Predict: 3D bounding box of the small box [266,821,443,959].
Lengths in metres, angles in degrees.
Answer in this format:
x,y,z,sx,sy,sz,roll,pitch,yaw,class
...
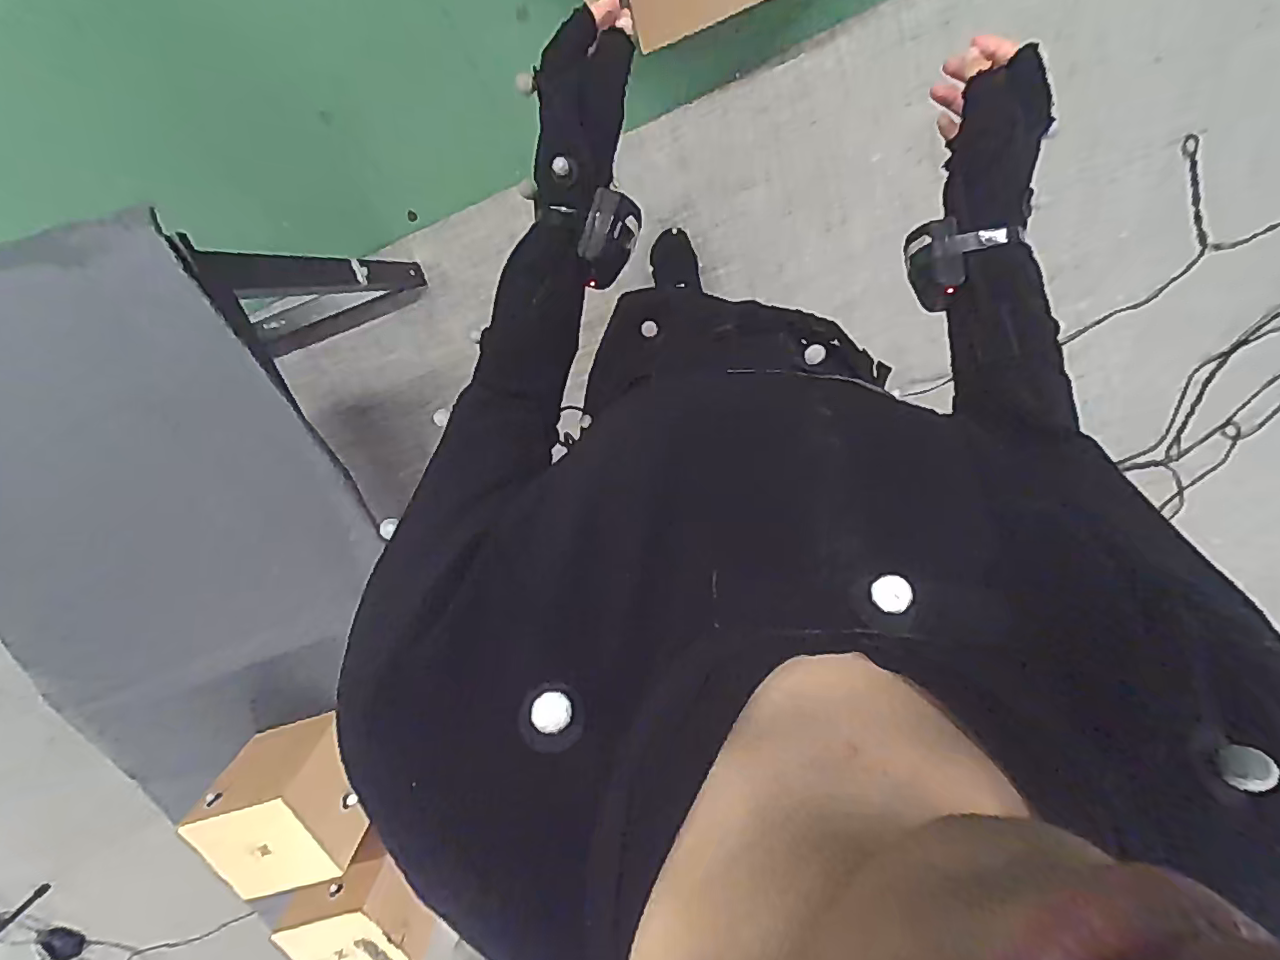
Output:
x,y,z,sx,sy,sz,roll,pitch,yaw,class
-0.456,0.712,0.904,0.179,0.176,0.168,-22,108,10,small box

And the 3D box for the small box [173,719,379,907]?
x,y,z,sx,sy,sz,roll,pitch,yaw,class
-0.535,0.501,0.831,0.179,0.176,0.168,-19,109,9,small box
